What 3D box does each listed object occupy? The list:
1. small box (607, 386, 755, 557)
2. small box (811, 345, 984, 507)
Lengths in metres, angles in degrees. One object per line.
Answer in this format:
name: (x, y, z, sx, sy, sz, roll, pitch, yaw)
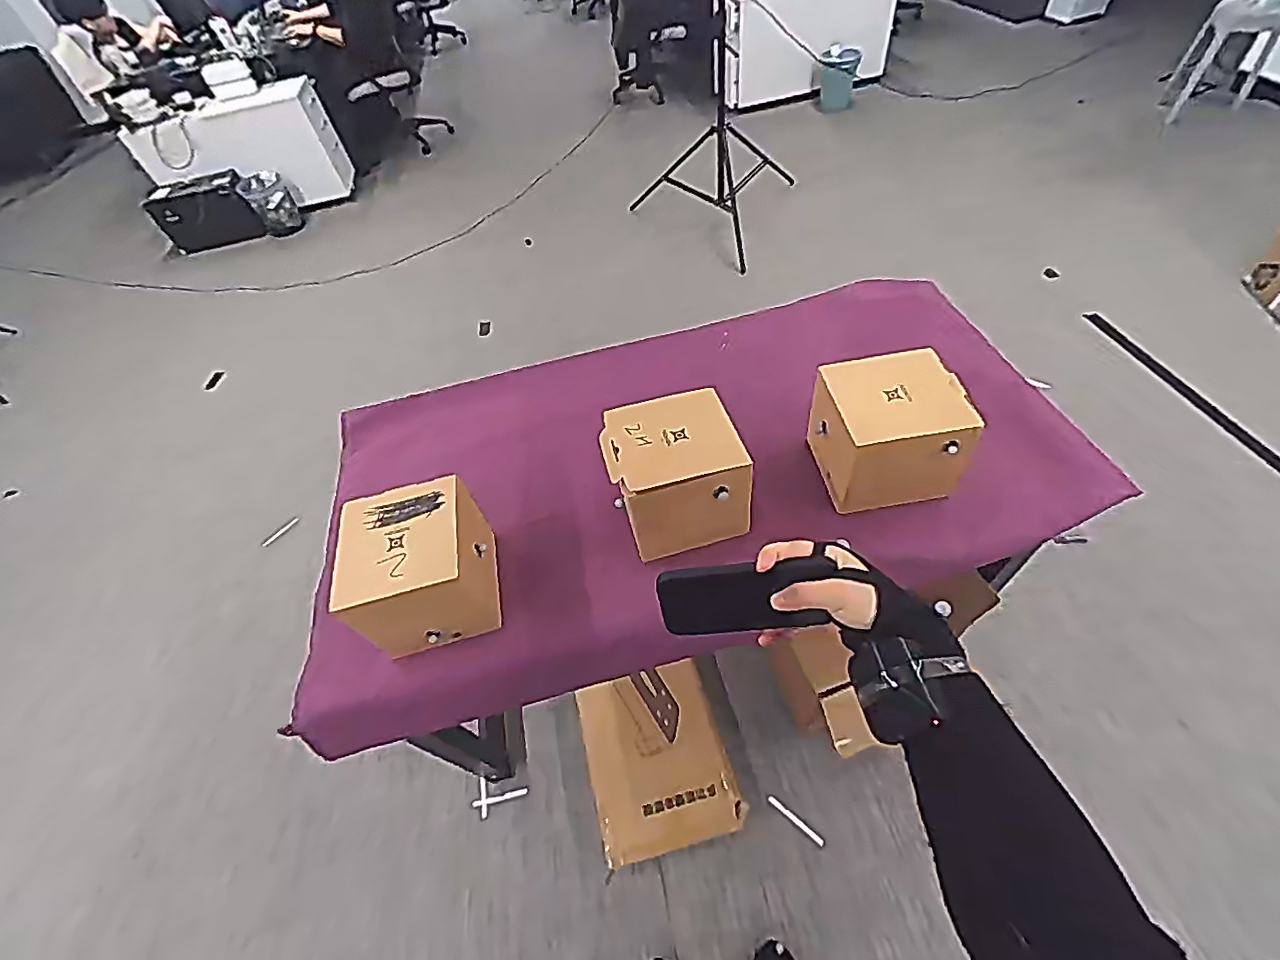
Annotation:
small box: (0.060, -0.010, 0.820, 0.179, 0.176, 0.168, -16, 50, -3)
small box: (0.372, -0.076, 0.824, 0.179, 0.176, 0.168, -10, 52, 1)
